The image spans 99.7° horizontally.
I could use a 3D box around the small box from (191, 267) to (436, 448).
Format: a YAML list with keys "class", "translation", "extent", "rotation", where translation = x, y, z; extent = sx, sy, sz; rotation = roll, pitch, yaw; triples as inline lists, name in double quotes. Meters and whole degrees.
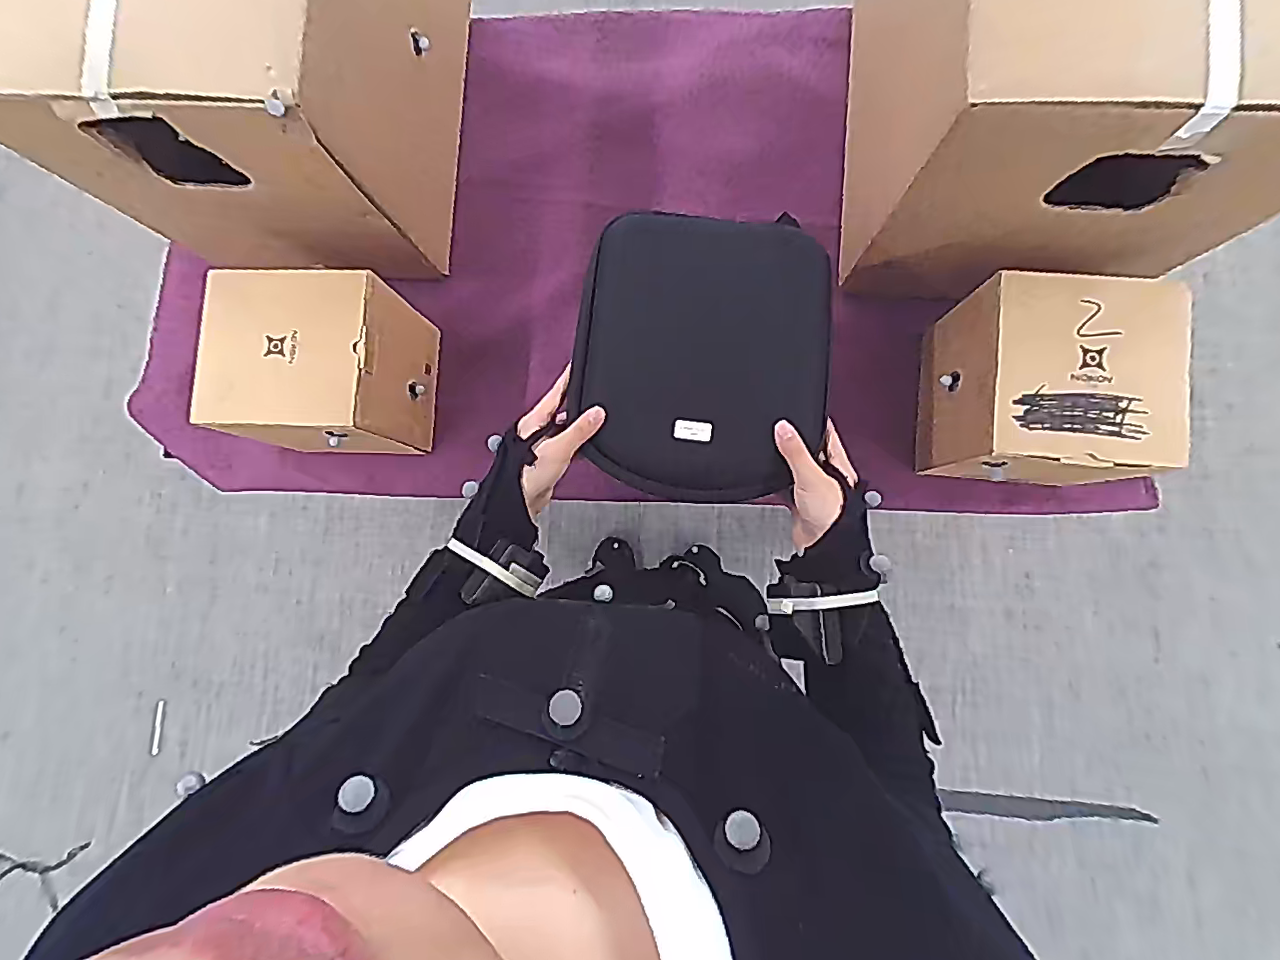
- class: "small box"
  translation: [-0.365, -0.131, 0.634]
  extent: [0.179, 0.176, 0.168]
  rotation: [1, 84, 3]

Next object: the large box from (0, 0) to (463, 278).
- class: "large box"
  translation: [-0.403, -0.483, 0.595]
  extent: [0.320, 0.320, 0.408]
  rotation: [2, 88, 3]
